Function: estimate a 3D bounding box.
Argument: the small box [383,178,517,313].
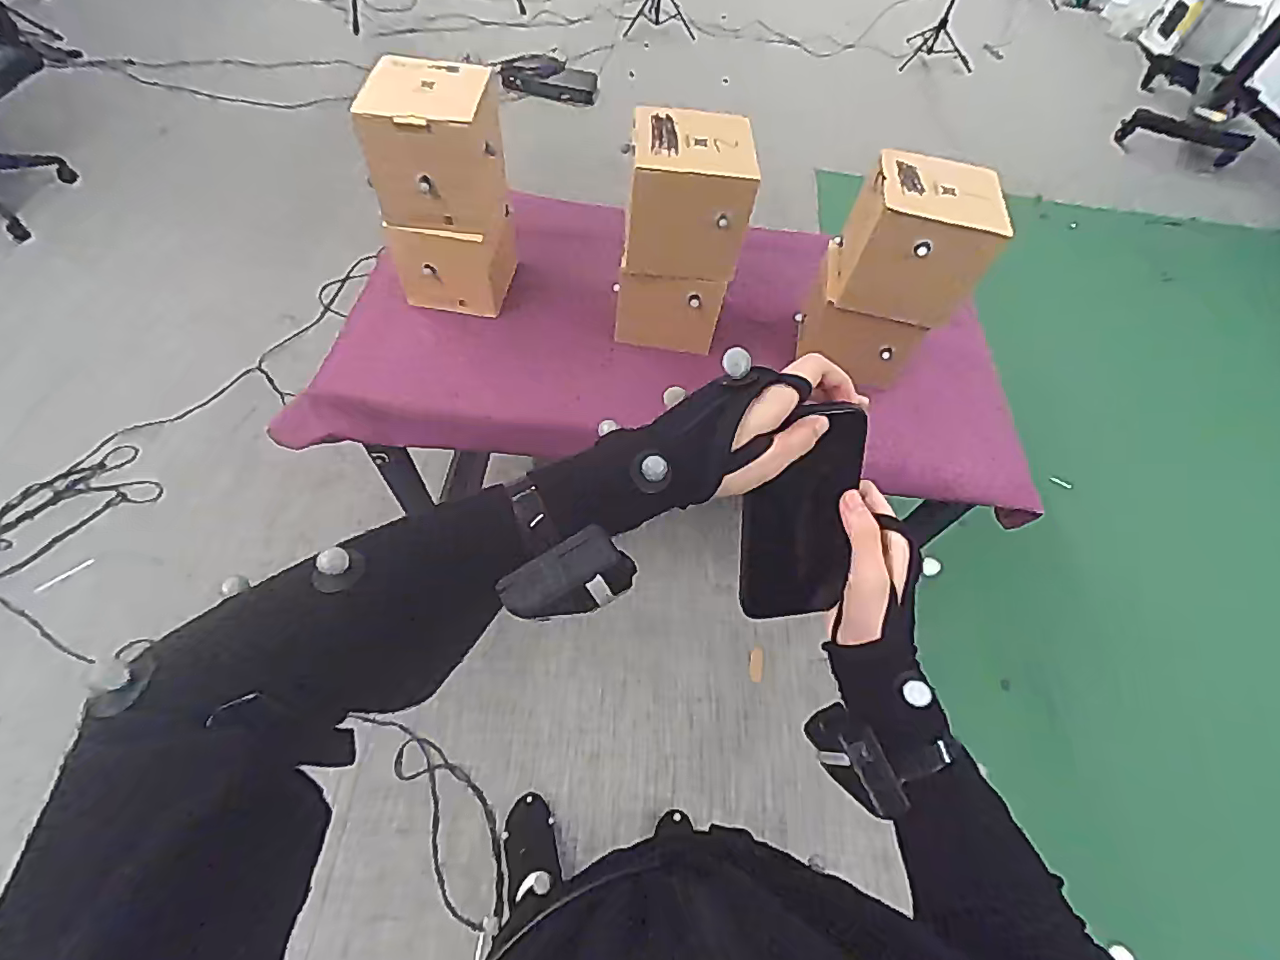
[{"bbox_3d":[-0.328,-0.427,0.977,0.168,0.176,0.179,8,58,0],"label":"small box"}]

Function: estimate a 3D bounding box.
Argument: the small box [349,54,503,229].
[{"bbox_3d":[-0.315,-0.519,0.841,0.168,0.176,0.179,4,59,-3],"label":"small box"}]

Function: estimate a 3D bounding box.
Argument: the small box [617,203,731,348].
[{"bbox_3d":[0.057,-0.358,0.967,0.179,0.176,0.168,7,58,0],"label":"small box"}]

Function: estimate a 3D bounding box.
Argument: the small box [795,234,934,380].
[{"bbox_3d":[0.393,-0.301,0.964,0.179,0.176,0.168,13,58,4],"label":"small box"}]

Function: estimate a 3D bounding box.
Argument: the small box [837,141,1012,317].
[{"bbox_3d":[0.412,-0.372,0.817,0.179,0.176,0.168,13,58,2],"label":"small box"}]
